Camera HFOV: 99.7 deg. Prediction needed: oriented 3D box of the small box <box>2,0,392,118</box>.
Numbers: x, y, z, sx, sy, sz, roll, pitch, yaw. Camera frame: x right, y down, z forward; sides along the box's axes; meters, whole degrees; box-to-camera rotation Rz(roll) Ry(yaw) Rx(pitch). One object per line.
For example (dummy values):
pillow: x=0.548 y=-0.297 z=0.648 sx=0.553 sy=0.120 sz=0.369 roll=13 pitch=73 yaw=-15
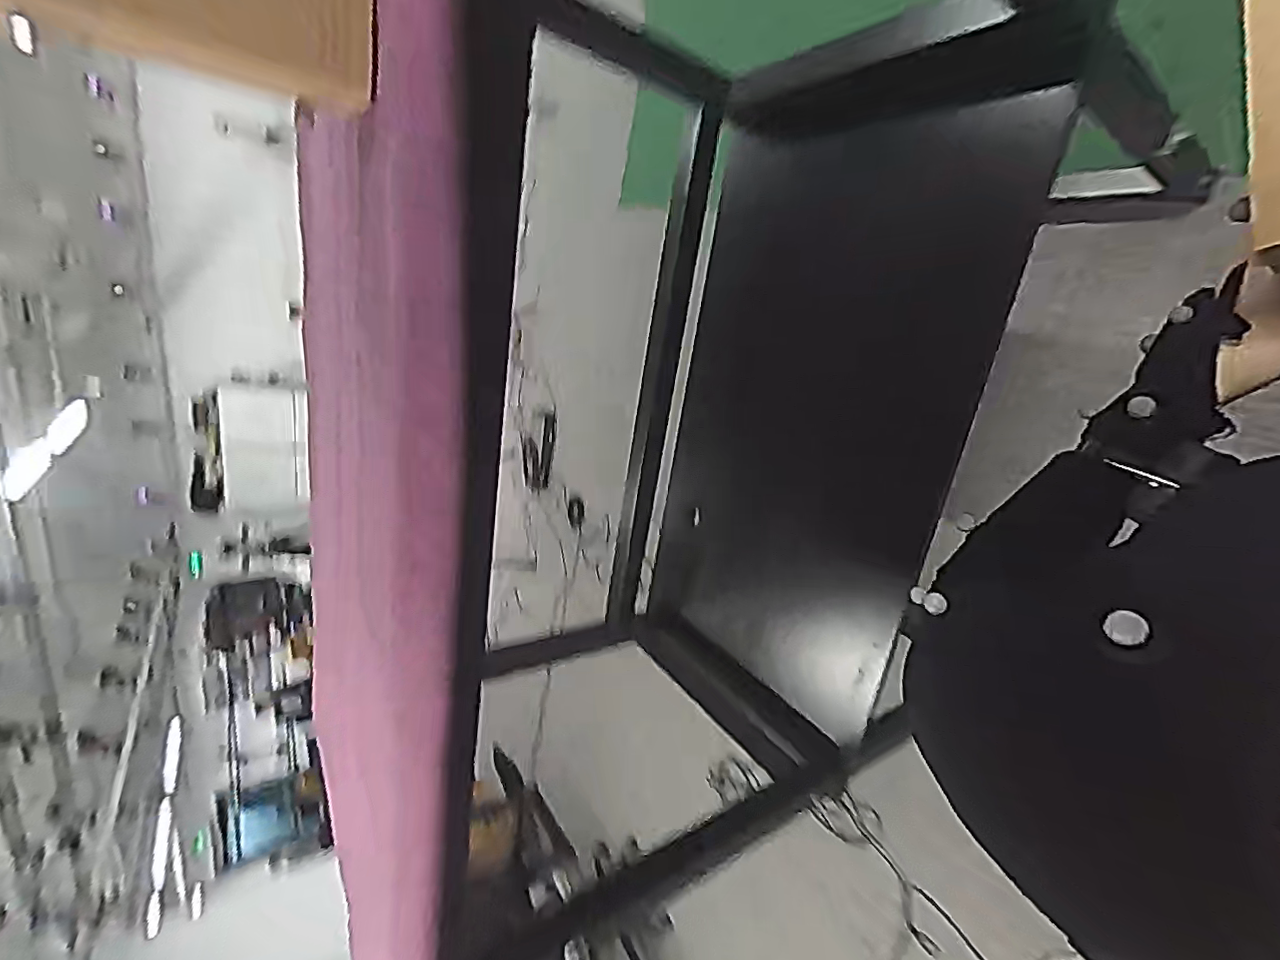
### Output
small box: x=-0.245 y=-0.332 z=0.314 sx=0.168 sy=0.176 sz=0.179 roll=39 pitch=124 yaw=48

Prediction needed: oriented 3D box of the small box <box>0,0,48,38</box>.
small box: x=-0.372 y=-0.315 z=0.212 sx=0.168 sy=0.176 sz=0.179 roll=33 pitch=120 yaw=50
